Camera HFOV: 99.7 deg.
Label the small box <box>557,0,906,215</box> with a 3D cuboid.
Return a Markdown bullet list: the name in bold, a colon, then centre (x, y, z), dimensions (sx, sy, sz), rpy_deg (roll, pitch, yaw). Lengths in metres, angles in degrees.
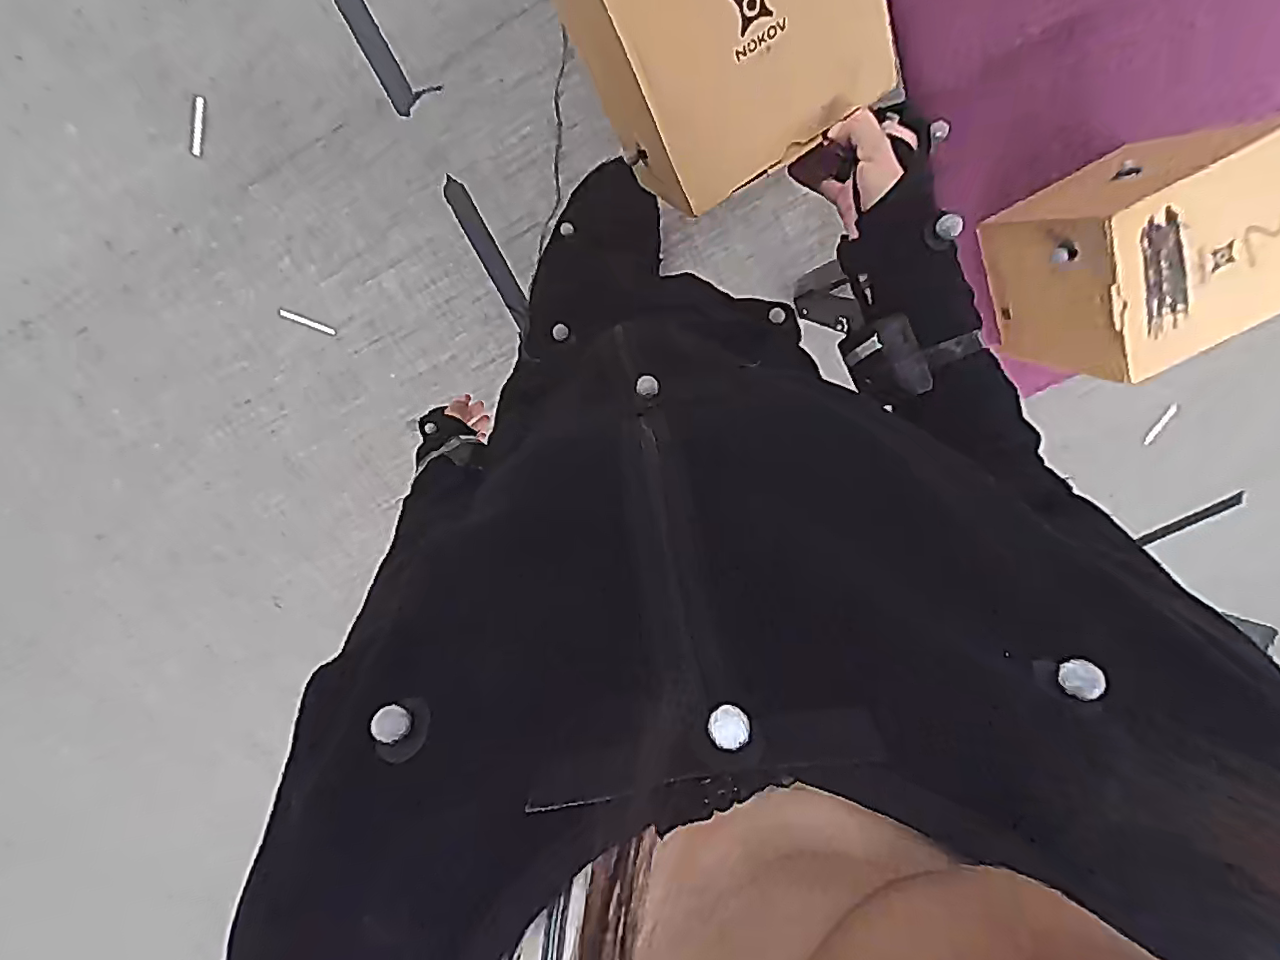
- **small box**: centre (0.054, -0.330, 0.388), dimensions (0.168, 0.176, 0.179), rpy_deg (-32, 127, 6)
